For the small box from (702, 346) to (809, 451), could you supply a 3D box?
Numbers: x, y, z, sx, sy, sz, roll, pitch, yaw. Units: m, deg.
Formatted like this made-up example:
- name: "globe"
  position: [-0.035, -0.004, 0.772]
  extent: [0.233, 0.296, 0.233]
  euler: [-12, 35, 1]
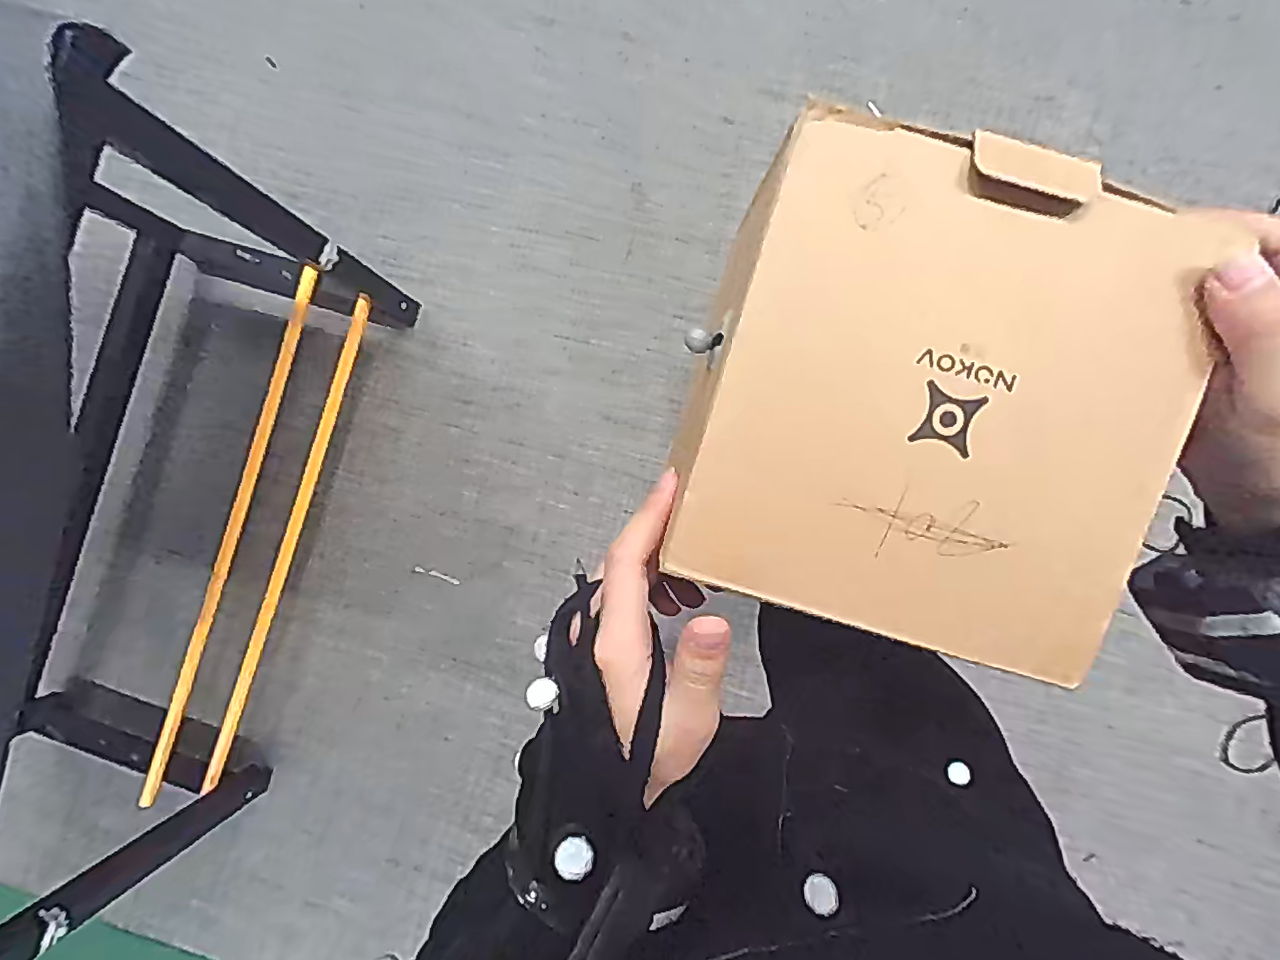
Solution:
- name: "small box"
  position: [0.227, -0.159, 1.110]
  extent: [0.179, 0.176, 0.168]
  euler: [11, 89, 5]
